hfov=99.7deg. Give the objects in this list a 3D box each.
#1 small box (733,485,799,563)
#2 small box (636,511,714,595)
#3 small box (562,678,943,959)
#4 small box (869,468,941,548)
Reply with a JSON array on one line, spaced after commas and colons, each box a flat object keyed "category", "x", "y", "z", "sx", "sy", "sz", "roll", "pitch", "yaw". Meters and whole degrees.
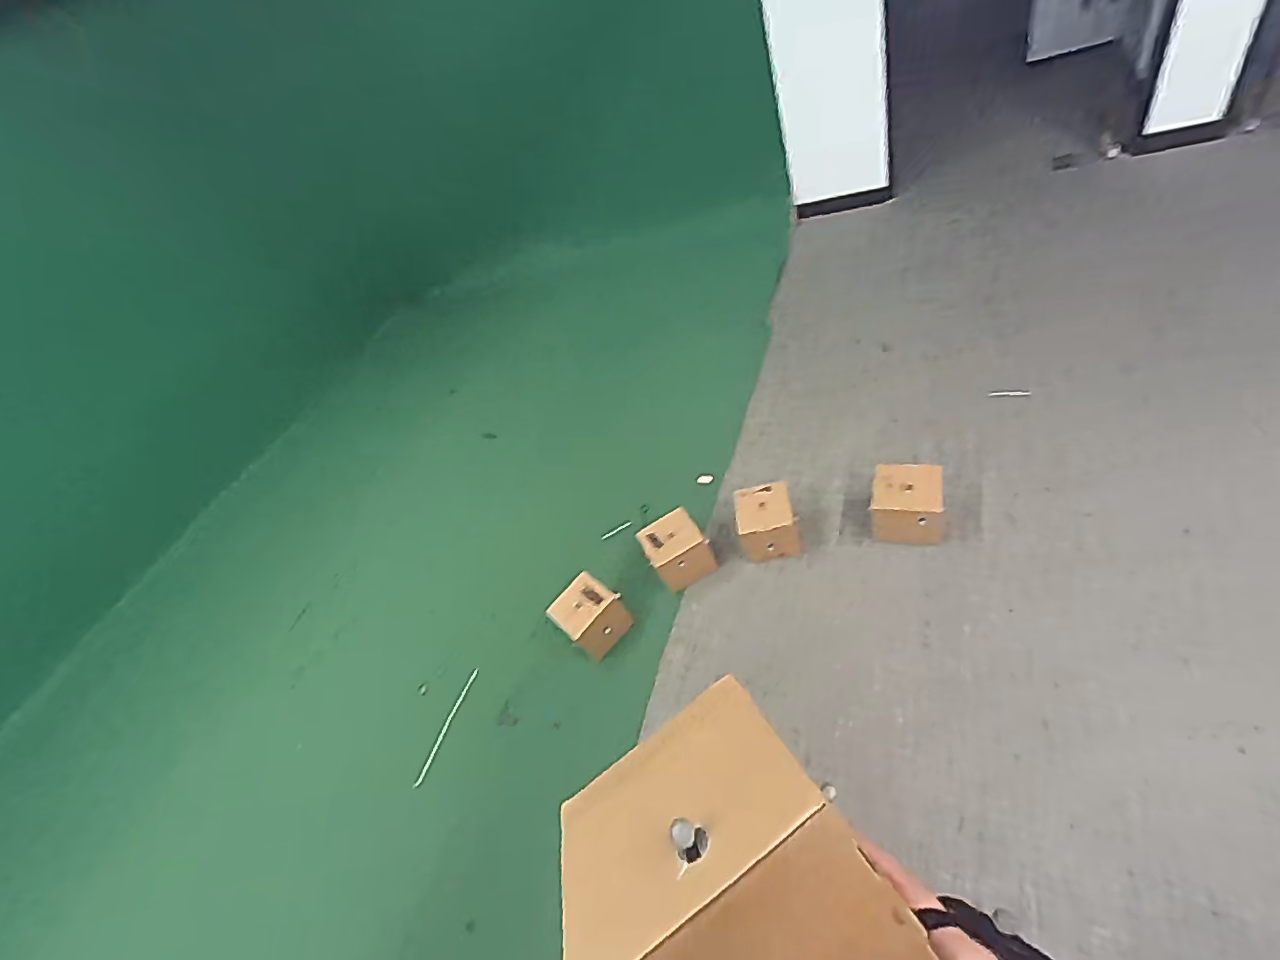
[{"category": "small box", "x": 0.395, "y": 0.145, "z": 1.696, "sx": 0.168, "sy": 0.176, "sz": 0.179, "roll": -12, "pitch": 47, "yaw": 17}, {"category": "small box", "x": 0.117, "y": 0.240, "z": 1.751, "sx": 0.179, "sy": 0.176, "sz": 0.168, "roll": -30, "pitch": 44, "yaw": -2}, {"category": "small box", "x": 0.064, "y": 0.277, "z": 0.373, "sx": 0.179, "sy": 0.168, "sz": 0.176, "roll": -35, "pitch": 8, "yaw": -5}, {"category": "small box", "x": 0.766, "y": 0.082, "z": 1.563, "sx": 0.179, "sy": 0.176, "sz": 0.168, "roll": 1, "pitch": 51, "yaw": 27}]
